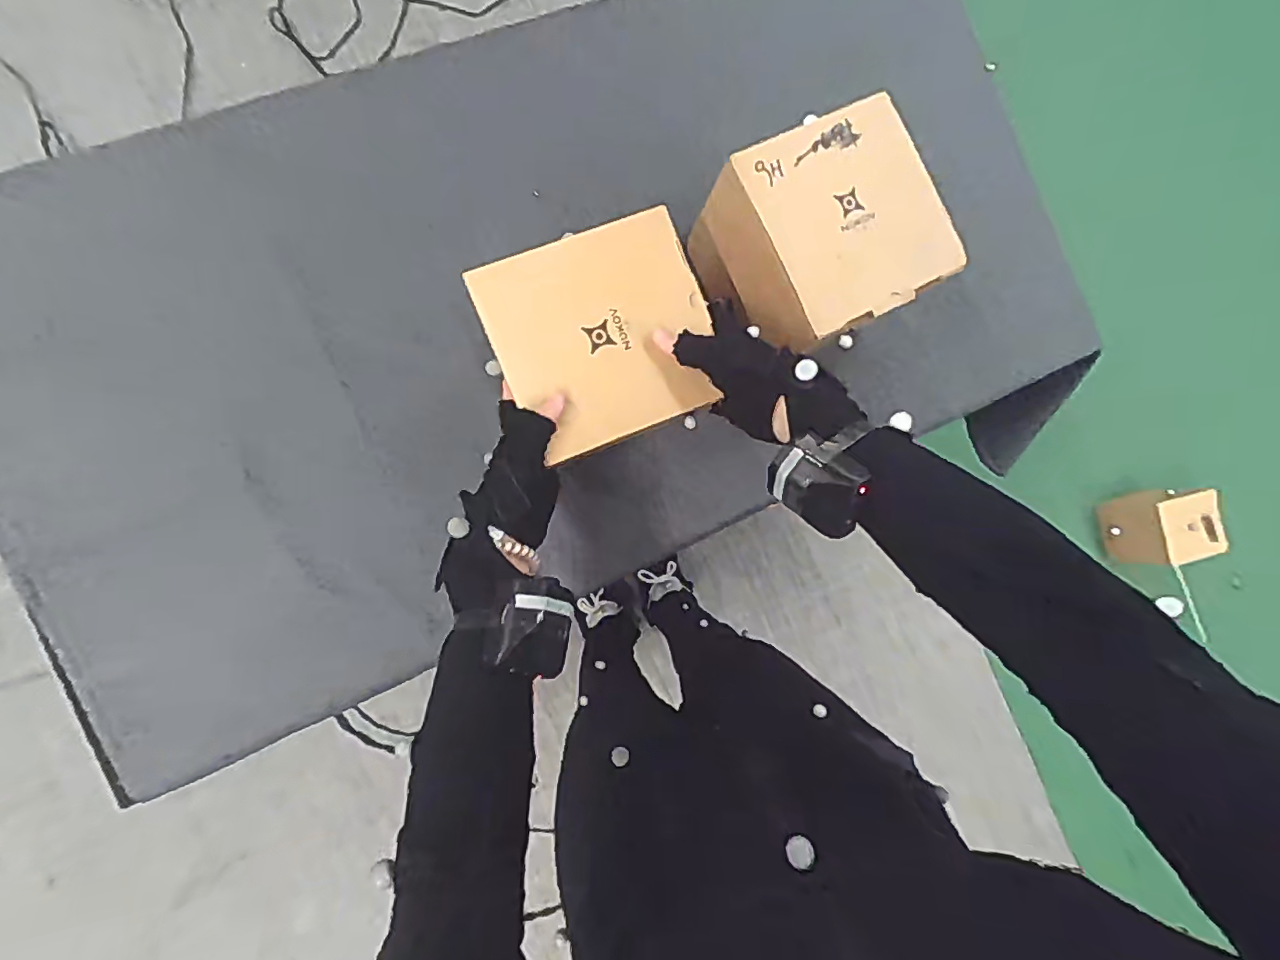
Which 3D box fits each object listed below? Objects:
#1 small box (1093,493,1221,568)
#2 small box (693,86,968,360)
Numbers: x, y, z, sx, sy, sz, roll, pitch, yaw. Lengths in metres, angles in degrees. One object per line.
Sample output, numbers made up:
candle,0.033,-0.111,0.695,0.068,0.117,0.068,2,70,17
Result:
small box,1.388,0.131,1.460,0.179,0.176,0.168,-12,89,-8
small box,0.176,-0.237,0.549,0.168,0.176,0.179,-26,93,-10
